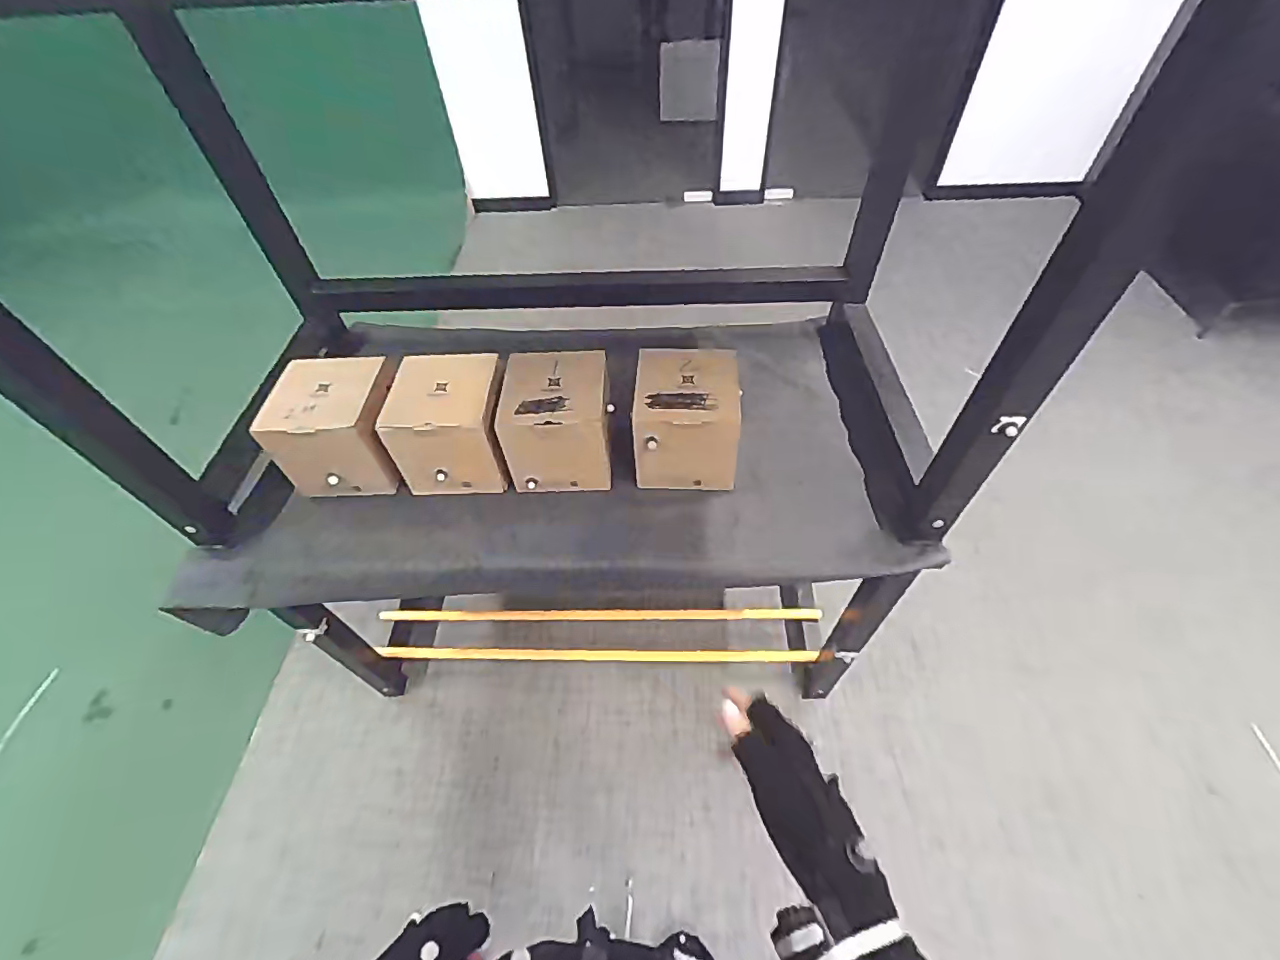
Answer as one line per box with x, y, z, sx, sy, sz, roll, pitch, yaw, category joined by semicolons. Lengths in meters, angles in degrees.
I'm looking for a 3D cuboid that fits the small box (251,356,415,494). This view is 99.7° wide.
-0.513;-0.094;0.938;0.168;0.176;0.179;-2;51;1;small box
